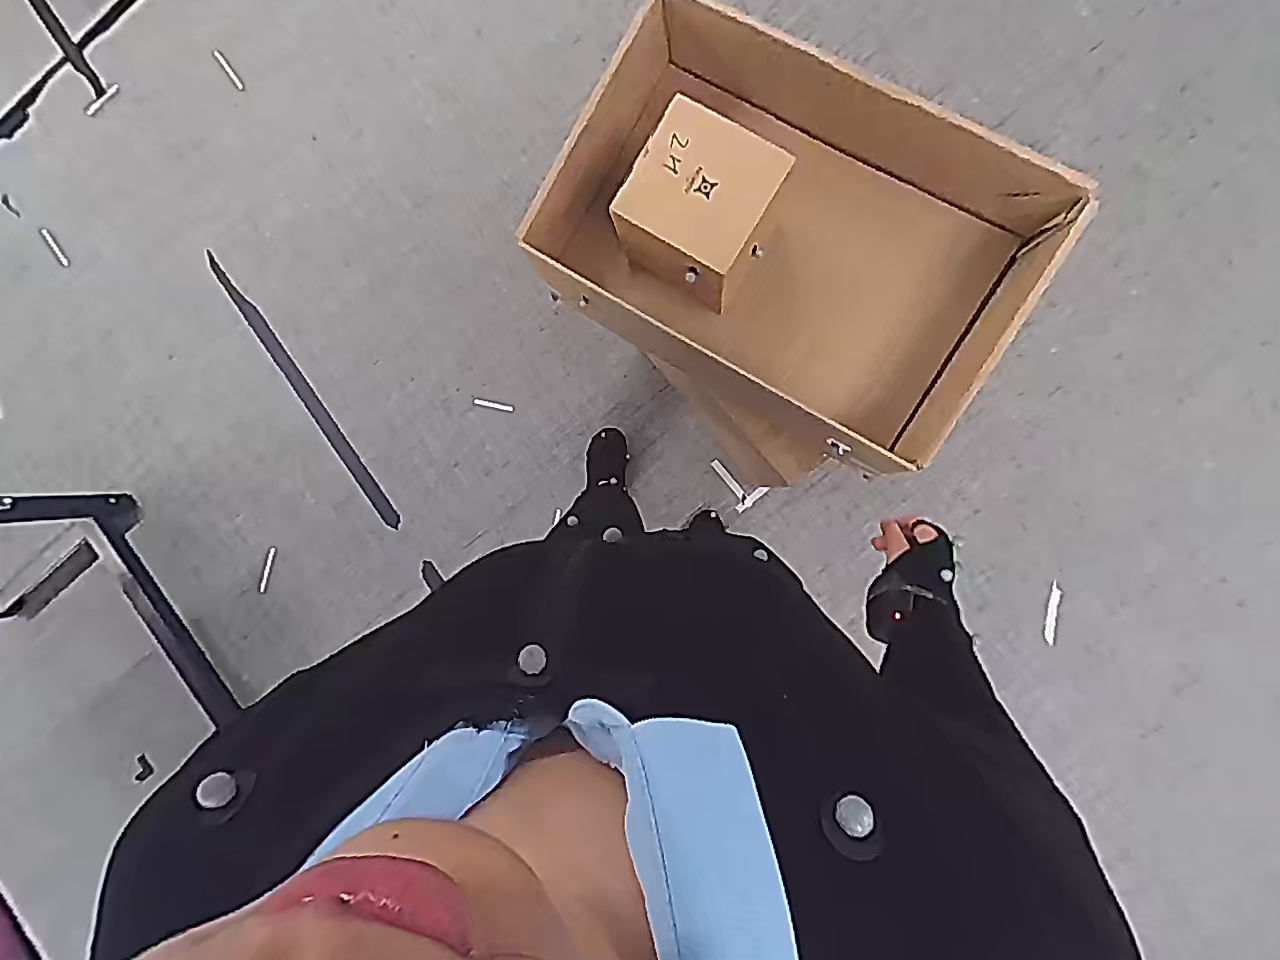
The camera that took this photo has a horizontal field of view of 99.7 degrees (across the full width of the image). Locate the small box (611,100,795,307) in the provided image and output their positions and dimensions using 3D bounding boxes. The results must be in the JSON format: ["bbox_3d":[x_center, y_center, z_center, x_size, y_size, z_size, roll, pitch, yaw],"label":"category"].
[{"bbox_3d":[0.087,-0.364,0.752,0.179,0.176,0.168,33,94,6],"label":"small box"}]
